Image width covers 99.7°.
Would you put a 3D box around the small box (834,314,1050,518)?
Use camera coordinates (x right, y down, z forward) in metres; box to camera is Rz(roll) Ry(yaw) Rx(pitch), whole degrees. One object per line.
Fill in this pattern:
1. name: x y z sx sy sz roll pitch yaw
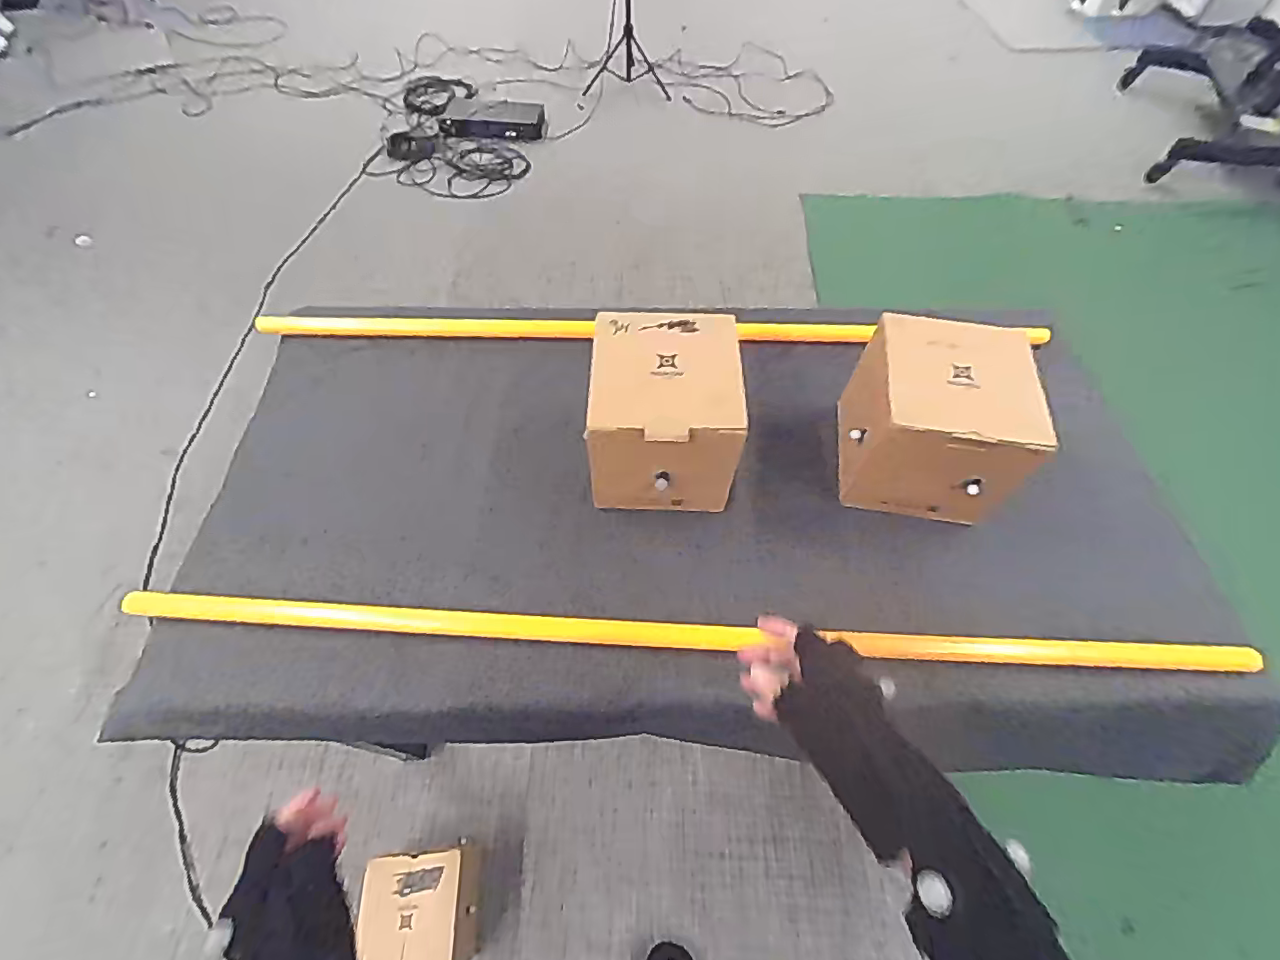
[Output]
1. small box: 0.345 -0.072 0.661 0.168 0.176 0.179 8 56 4

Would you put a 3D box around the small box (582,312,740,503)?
1. small box: 0.023 -0.080 0.664 0.168 0.176 0.179 -2 57 0
